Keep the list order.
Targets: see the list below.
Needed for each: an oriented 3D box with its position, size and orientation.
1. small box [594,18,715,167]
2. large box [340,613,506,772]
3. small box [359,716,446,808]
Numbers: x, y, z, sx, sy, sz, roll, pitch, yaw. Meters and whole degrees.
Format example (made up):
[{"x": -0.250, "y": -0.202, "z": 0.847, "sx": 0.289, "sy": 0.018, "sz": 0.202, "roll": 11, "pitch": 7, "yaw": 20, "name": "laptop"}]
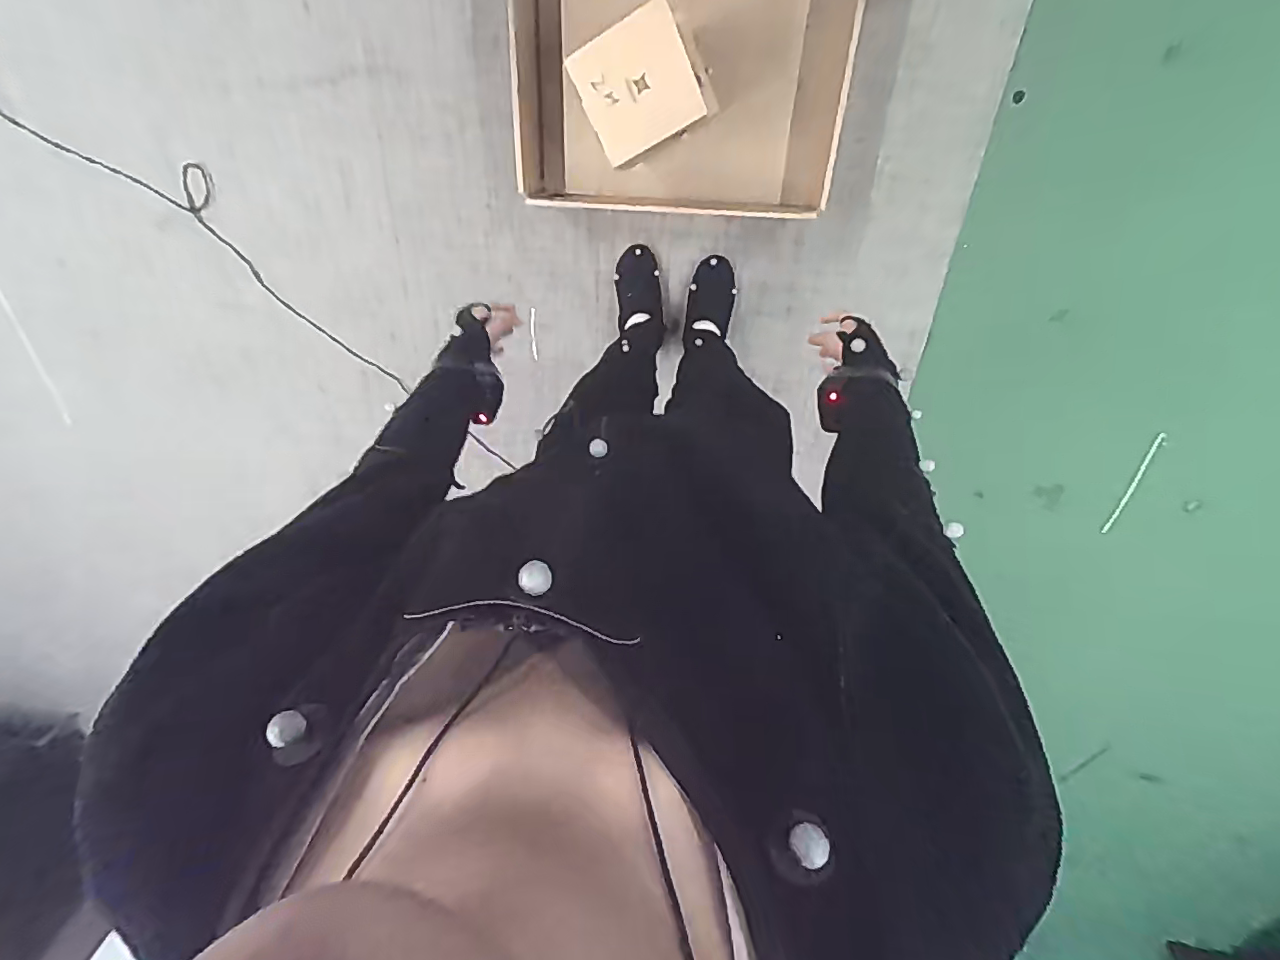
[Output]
[{"x": 0.036, "y": -0.727, "z": 1.041, "sx": 0.179, "sy": 0.176, "sz": 0.168, "roll": -22, "pitch": 114, "yaw": 17, "name": "small box"}, {"x": -0.757, "y": 0.751, "z": 1.926, "sx": 0.408, "sy": 0.320, "sz": 0.320, "roll": 32, "pitch": 117, "yaw": -9, "name": "large box"}, {"x": -0.750, "y": 0.897, "z": 1.727, "sx": 0.168, "sy": 0.176, "sz": 0.179, "roll": 35, "pitch": 117, "yaw": -12, "name": "small box"}]
